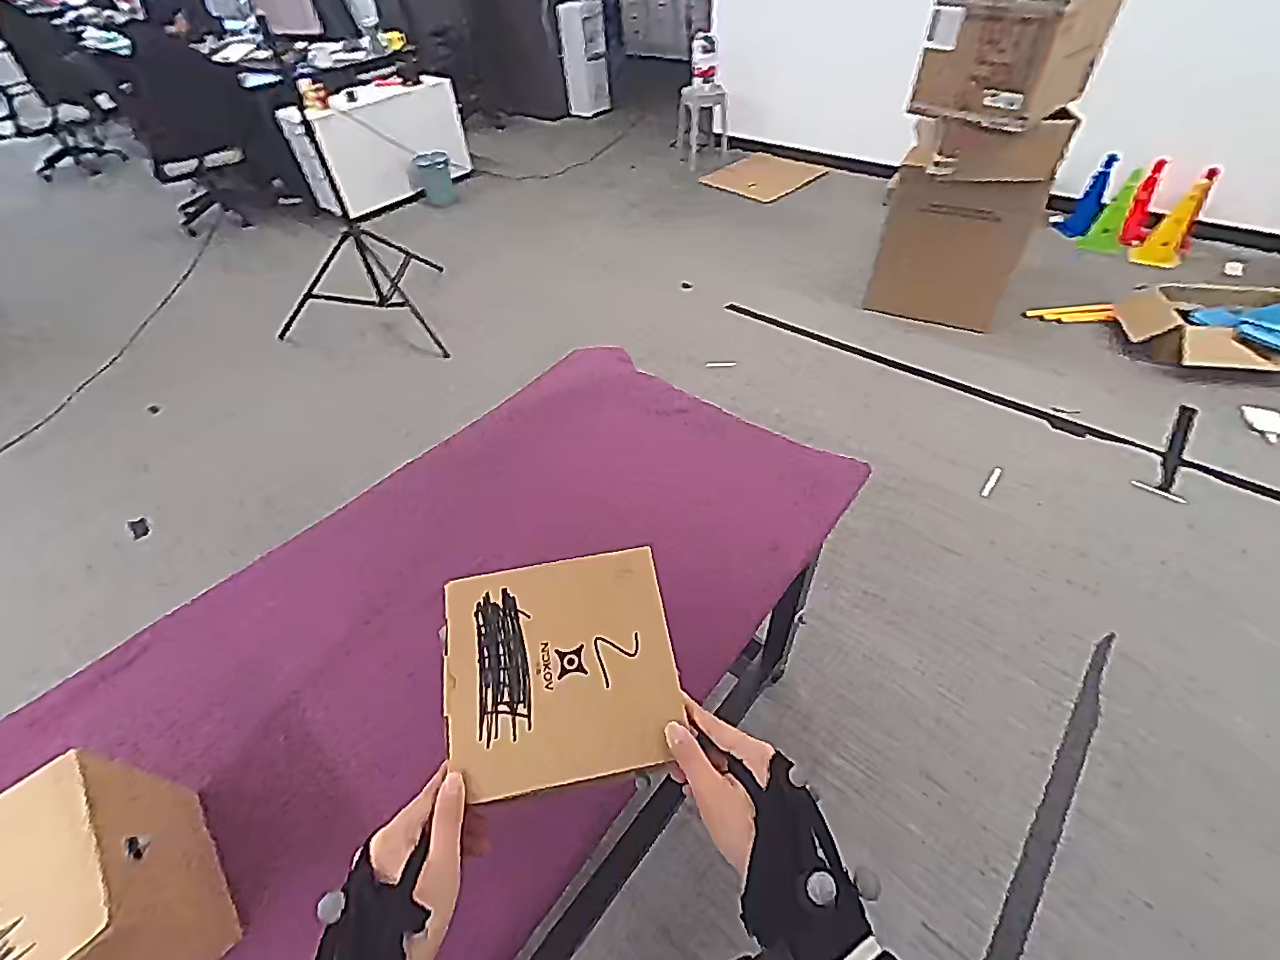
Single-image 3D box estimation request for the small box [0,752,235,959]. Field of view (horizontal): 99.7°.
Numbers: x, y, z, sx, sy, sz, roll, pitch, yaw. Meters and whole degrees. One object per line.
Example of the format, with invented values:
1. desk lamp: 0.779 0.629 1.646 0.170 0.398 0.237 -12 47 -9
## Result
1. small box: -0.499 0.382 0.466 0.168 0.176 0.179 -36 55 -27
